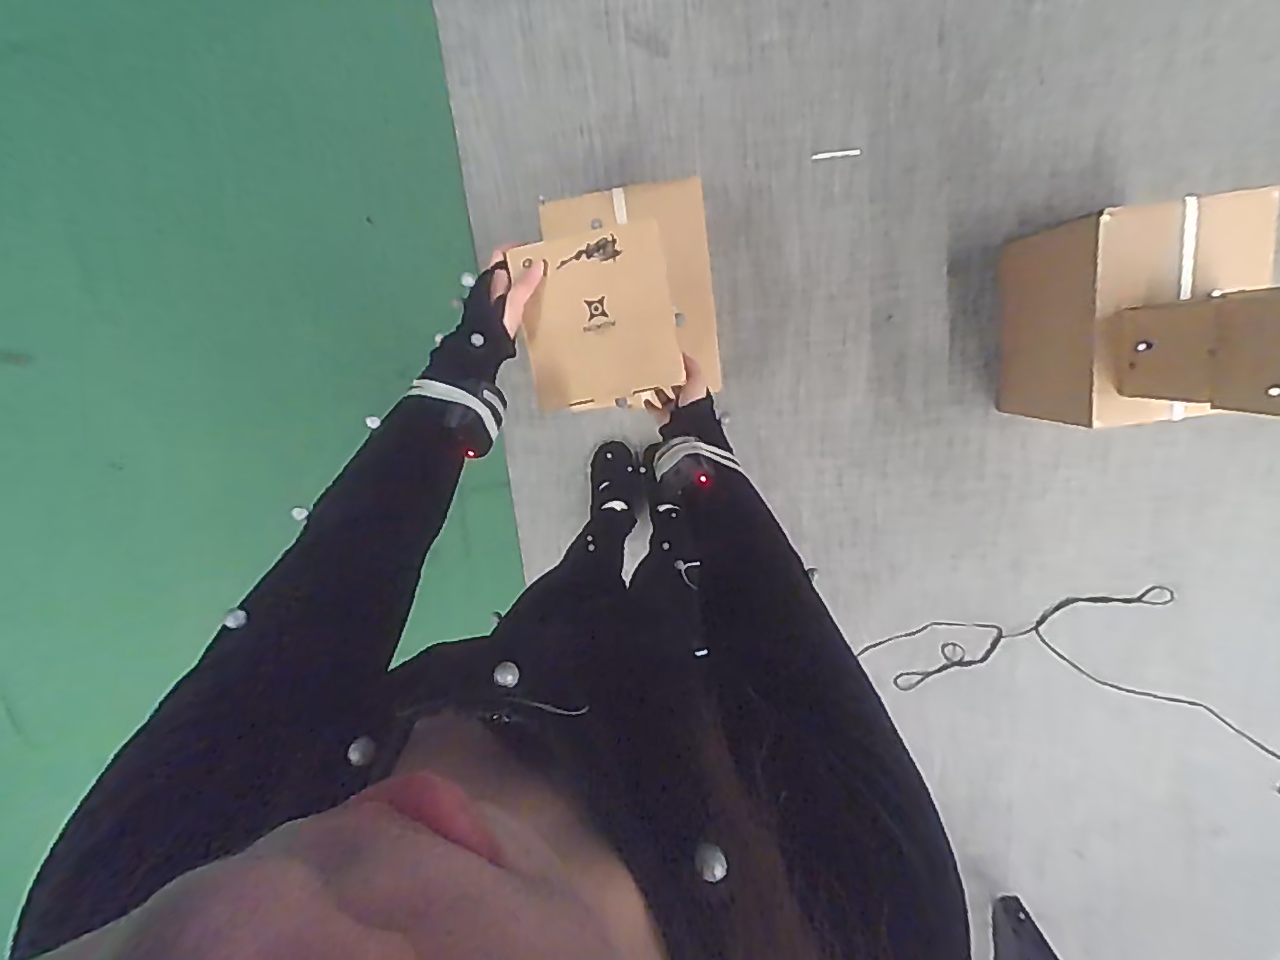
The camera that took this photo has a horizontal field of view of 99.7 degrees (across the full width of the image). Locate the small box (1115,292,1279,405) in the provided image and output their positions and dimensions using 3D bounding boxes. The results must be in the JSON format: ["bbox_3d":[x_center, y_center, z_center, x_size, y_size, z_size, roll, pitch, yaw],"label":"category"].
[{"bbox_3d":[0.997,-0.233,0.950,0.179,0.176,0.168,-8,103,5],"label":"small box"}]

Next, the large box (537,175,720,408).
[{"bbox_3d":[-0.010,-0.388,1.198,0.320,0.320,0.408,-7,102,4],"label":"large box"}]

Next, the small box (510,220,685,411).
[{"bbox_3d":[-0.039,-0.192,0.657,0.168,0.176,0.179,-10,103,4],"label":"small box"}]
